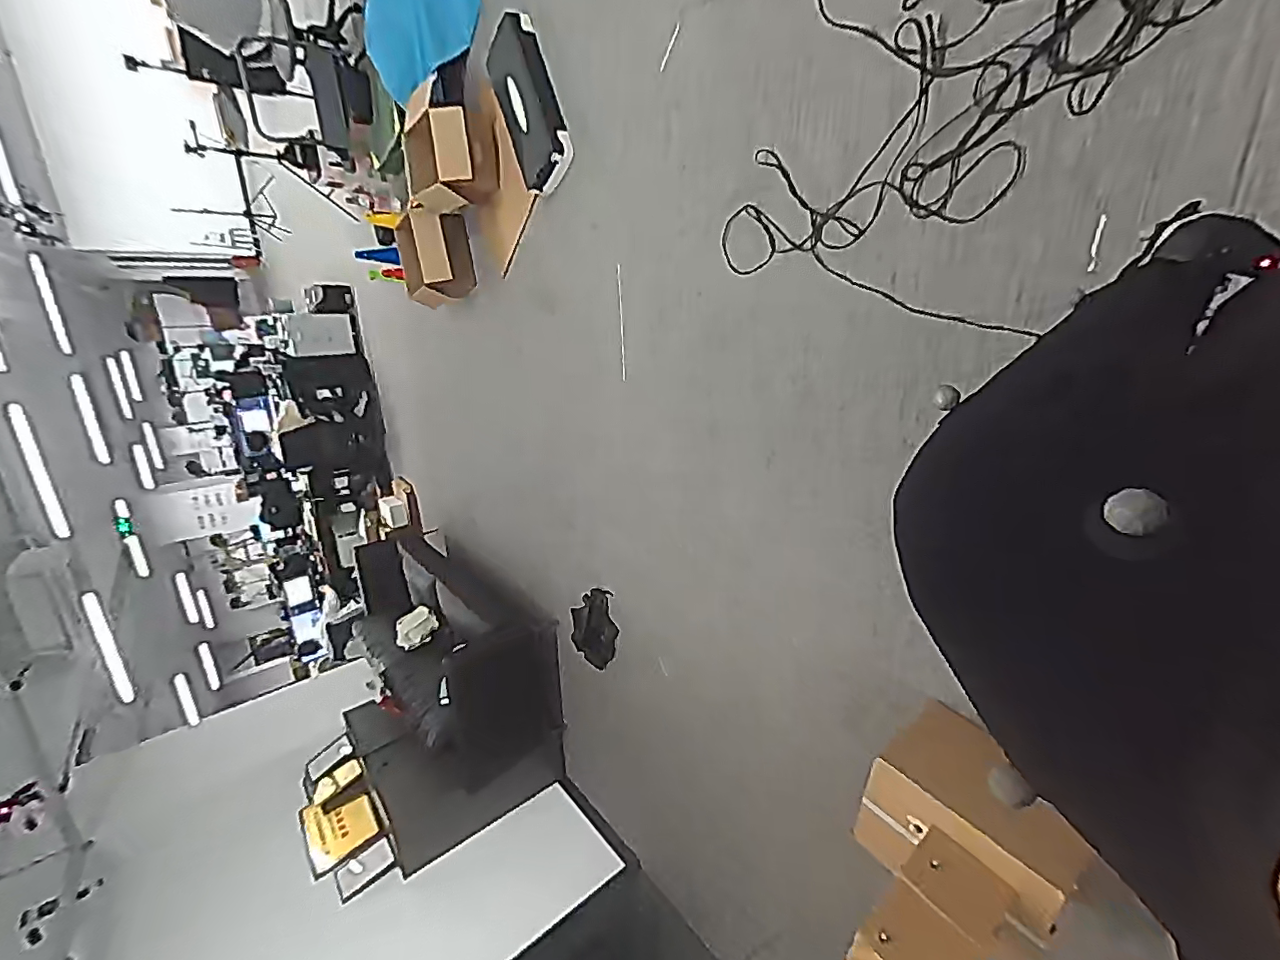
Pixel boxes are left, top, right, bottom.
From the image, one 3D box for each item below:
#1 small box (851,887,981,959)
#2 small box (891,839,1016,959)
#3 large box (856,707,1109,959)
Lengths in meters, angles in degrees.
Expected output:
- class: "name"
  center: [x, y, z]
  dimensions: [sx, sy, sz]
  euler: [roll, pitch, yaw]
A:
- class: "small box"
  center: [0.537, 0.968, 1.064]
  dimensions: [0.179, 0.176, 0.168]
  euler: [29, 125, 45]
- class: "small box"
  center: [0.660, 0.917, 1.158]
  dimensions: [0.179, 0.176, 0.168]
  euler: [28, 125, 44]
- class: "large box"
  center: [0.823, 0.858, 1.333]
  dimensions: [0.408, 0.320, 0.320]
  euler: [29, 123, 46]
